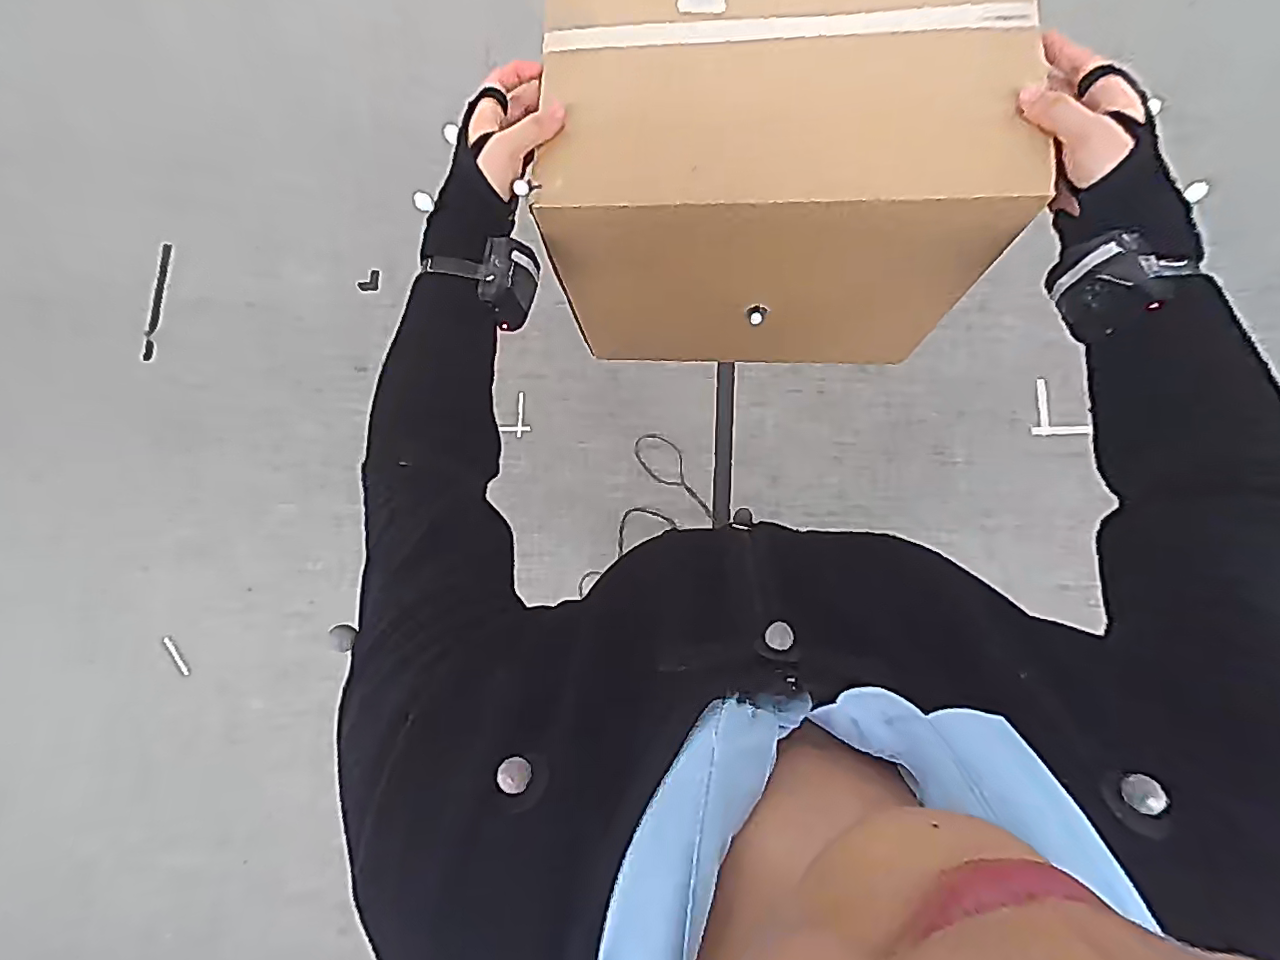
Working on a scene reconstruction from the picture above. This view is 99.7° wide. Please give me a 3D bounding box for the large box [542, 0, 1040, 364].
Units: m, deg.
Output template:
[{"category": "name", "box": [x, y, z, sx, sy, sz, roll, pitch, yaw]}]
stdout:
[{"category": "large box", "box": [0.134, -0.336, 0.612, 0.408, 0.320, 0.320, 1, 77, 6]}]
